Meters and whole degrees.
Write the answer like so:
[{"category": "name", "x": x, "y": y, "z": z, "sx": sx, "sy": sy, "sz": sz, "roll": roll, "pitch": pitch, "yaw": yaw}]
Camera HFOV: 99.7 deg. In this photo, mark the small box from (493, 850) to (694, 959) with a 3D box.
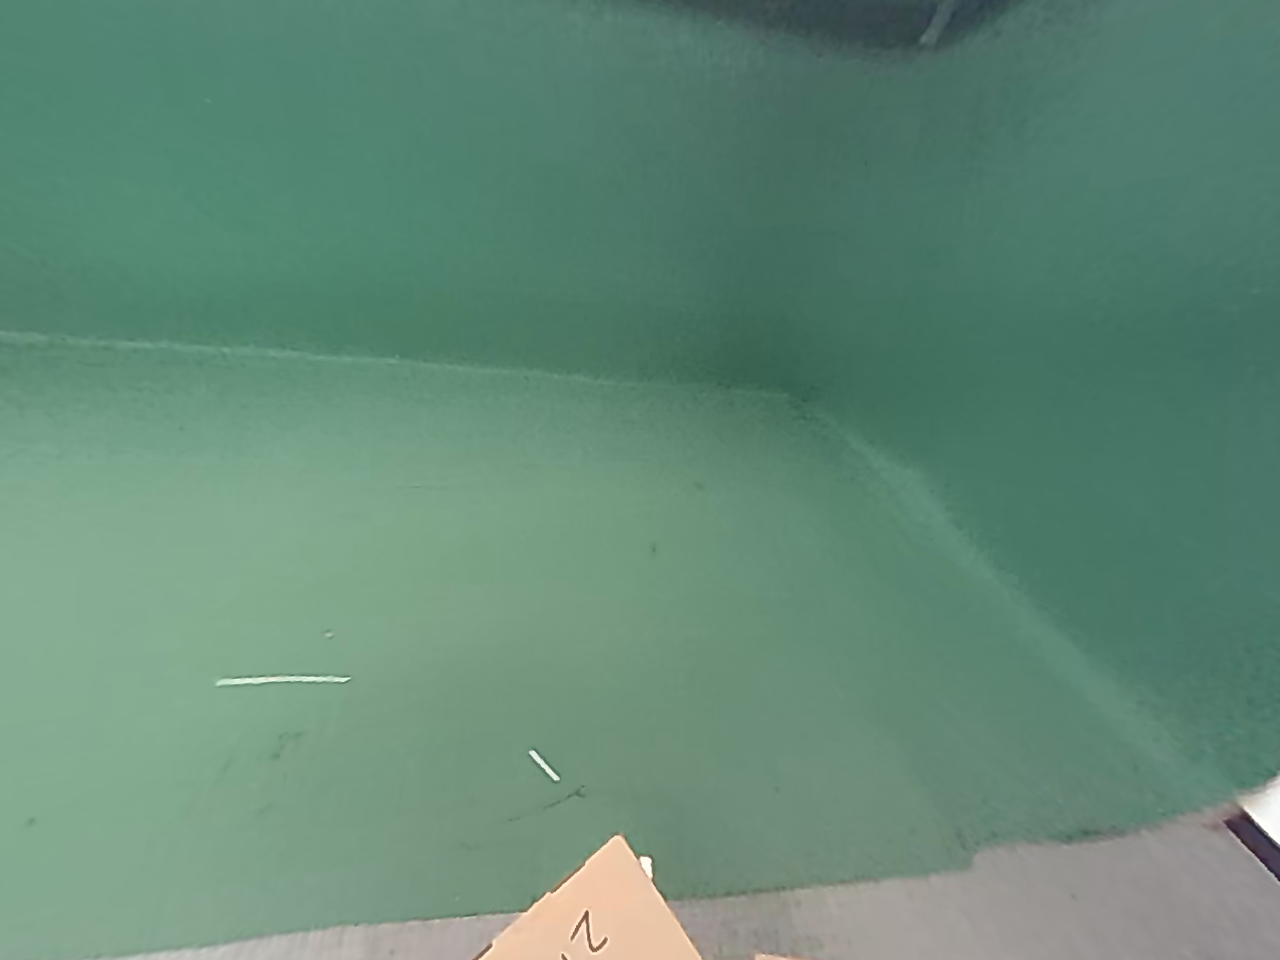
[{"category": "small box", "x": -0.030, "y": 0.408, "z": 0.369, "sx": 0.168, "sy": 0.176, "sz": 0.179, "roll": -27, "pitch": 52, "yaw": -31}]
